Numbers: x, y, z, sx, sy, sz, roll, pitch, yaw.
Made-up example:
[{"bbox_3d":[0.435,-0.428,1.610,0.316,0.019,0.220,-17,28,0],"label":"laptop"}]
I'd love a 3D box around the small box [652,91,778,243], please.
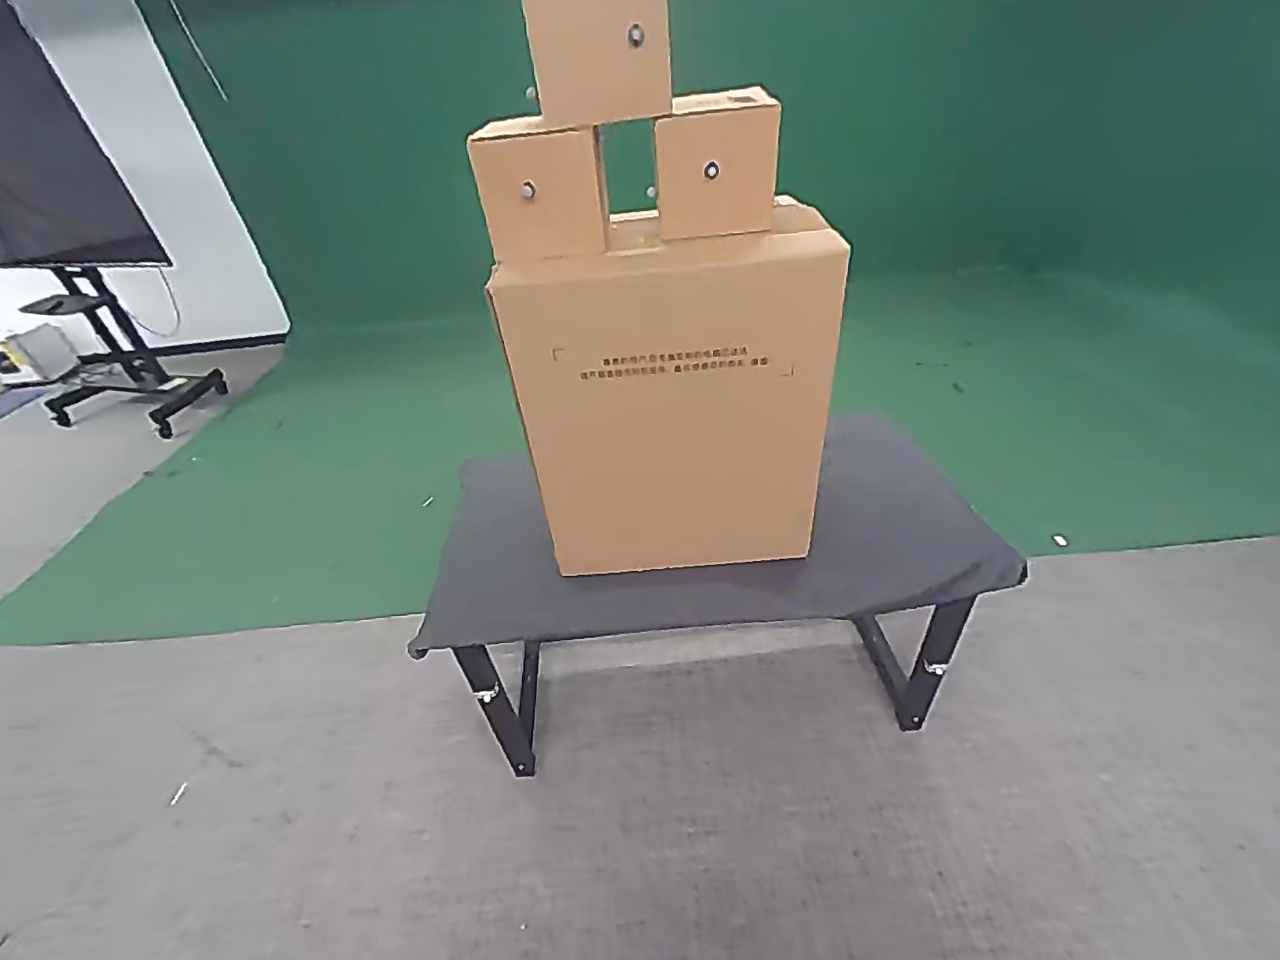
[{"bbox_3d":[0.111,-0.492,0.853,0.179,0.176,0.168,-5,41,4],"label":"small box"}]

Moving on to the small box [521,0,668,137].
[{"bbox_3d":[-0.062,-0.588,0.744,0.179,0.176,0.168,-12,40,-4],"label":"small box"}]

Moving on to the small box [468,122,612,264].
[{"bbox_3d":[-0.144,-0.452,0.849,0.179,0.176,0.168,-4,41,3],"label":"small box"}]
